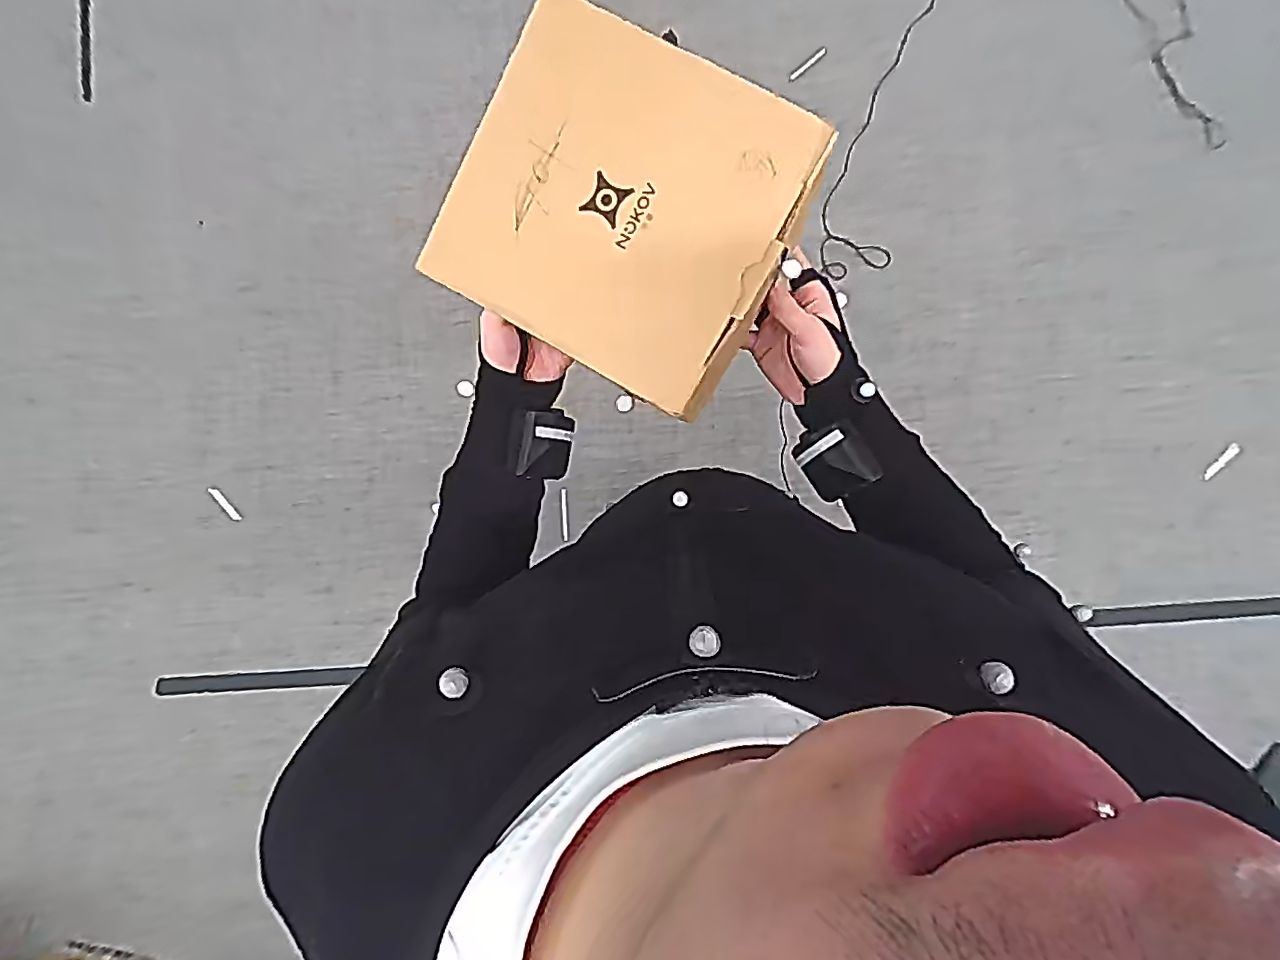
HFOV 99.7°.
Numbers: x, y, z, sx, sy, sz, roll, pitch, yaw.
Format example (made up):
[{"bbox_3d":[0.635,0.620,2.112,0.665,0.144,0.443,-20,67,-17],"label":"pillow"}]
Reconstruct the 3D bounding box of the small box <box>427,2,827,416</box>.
[{"bbox_3d":[-0.002,-0.157,0.377,0.179,0.176,0.168,30,98,6],"label":"small box"}]
